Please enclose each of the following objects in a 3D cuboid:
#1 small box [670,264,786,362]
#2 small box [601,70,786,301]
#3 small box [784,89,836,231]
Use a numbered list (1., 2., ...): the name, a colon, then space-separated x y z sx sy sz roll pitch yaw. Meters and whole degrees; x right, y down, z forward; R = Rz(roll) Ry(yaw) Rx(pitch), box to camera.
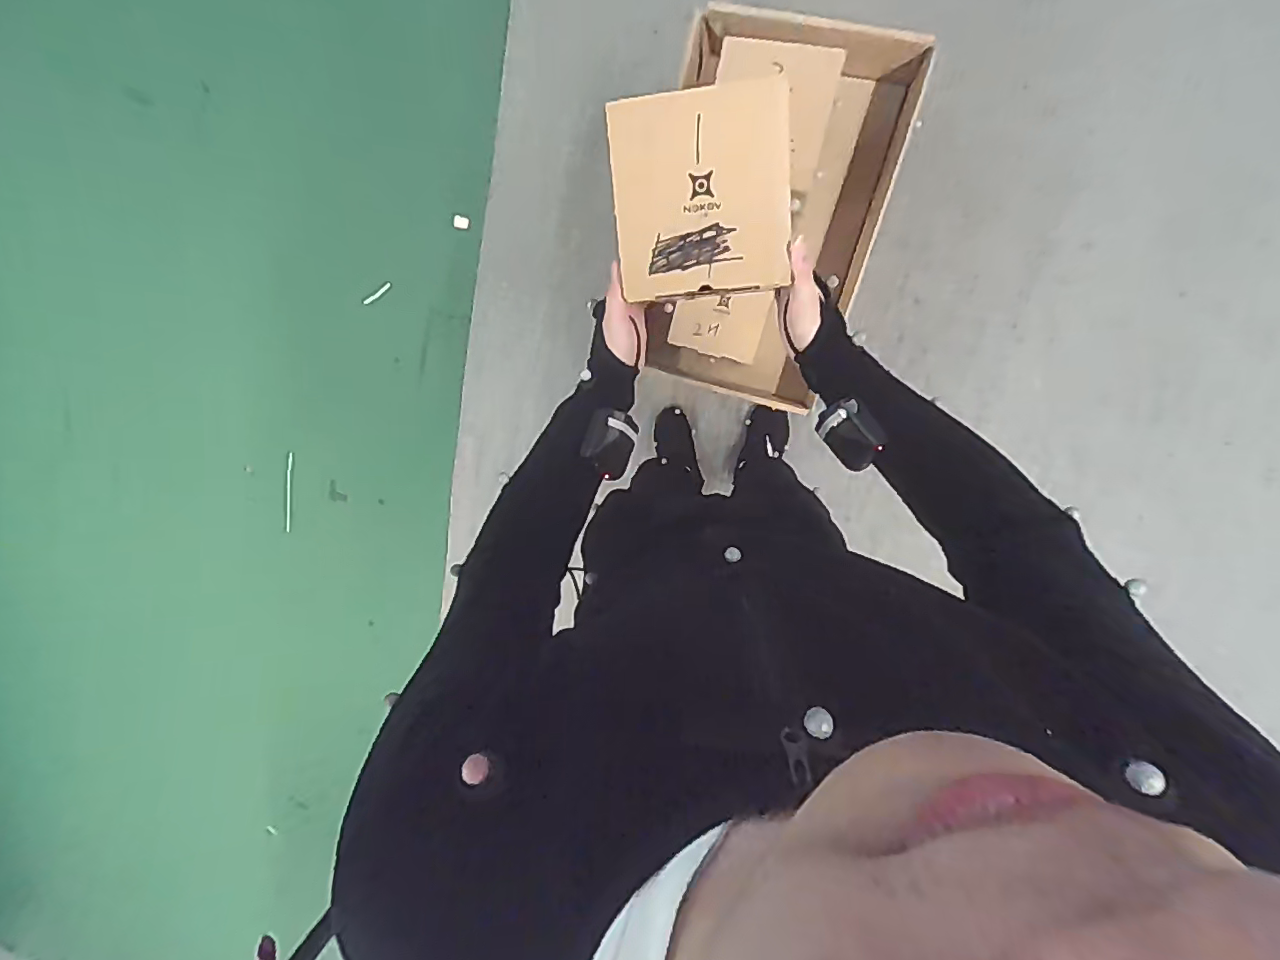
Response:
1. small box: 0.169 -0.331 1.033 0.168 0.176 0.179 18 105 10
2. small box: 0.064 -0.291 0.577 0.168 0.176 0.179 -3 107 9
3. small box: 0.234 -0.569 0.970 0.168 0.176 0.179 16 108 9
